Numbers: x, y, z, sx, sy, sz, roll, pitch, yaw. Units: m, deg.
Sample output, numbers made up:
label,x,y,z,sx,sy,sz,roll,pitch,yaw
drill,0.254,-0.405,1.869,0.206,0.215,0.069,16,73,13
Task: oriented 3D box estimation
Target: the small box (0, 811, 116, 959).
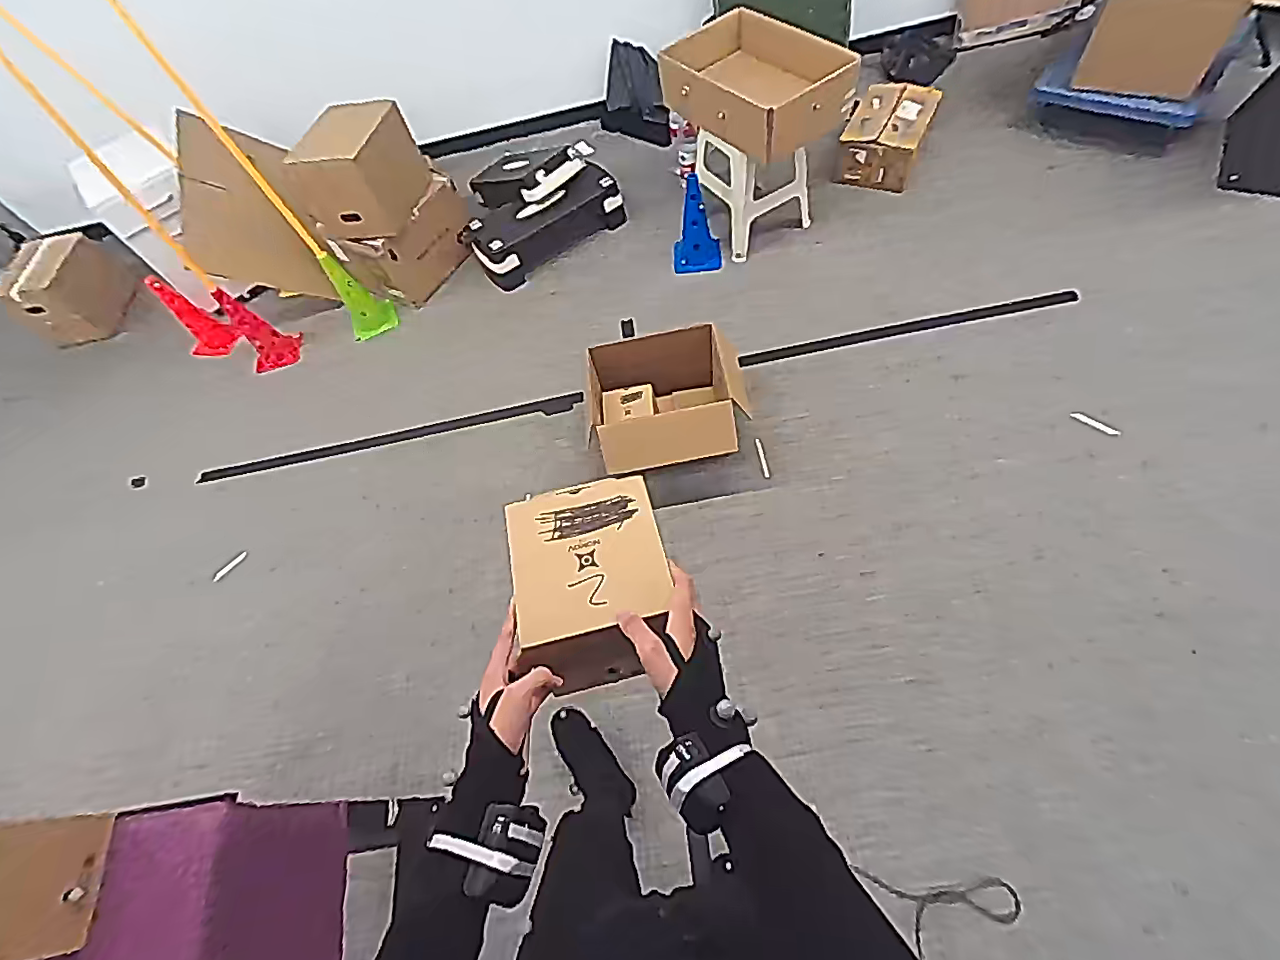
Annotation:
label,x,y,z,sx,sy,sz,roll,pitch,yaw
small box,-0.871,0.551,0.713,0.179,0.176,0.168,-14,61,2
